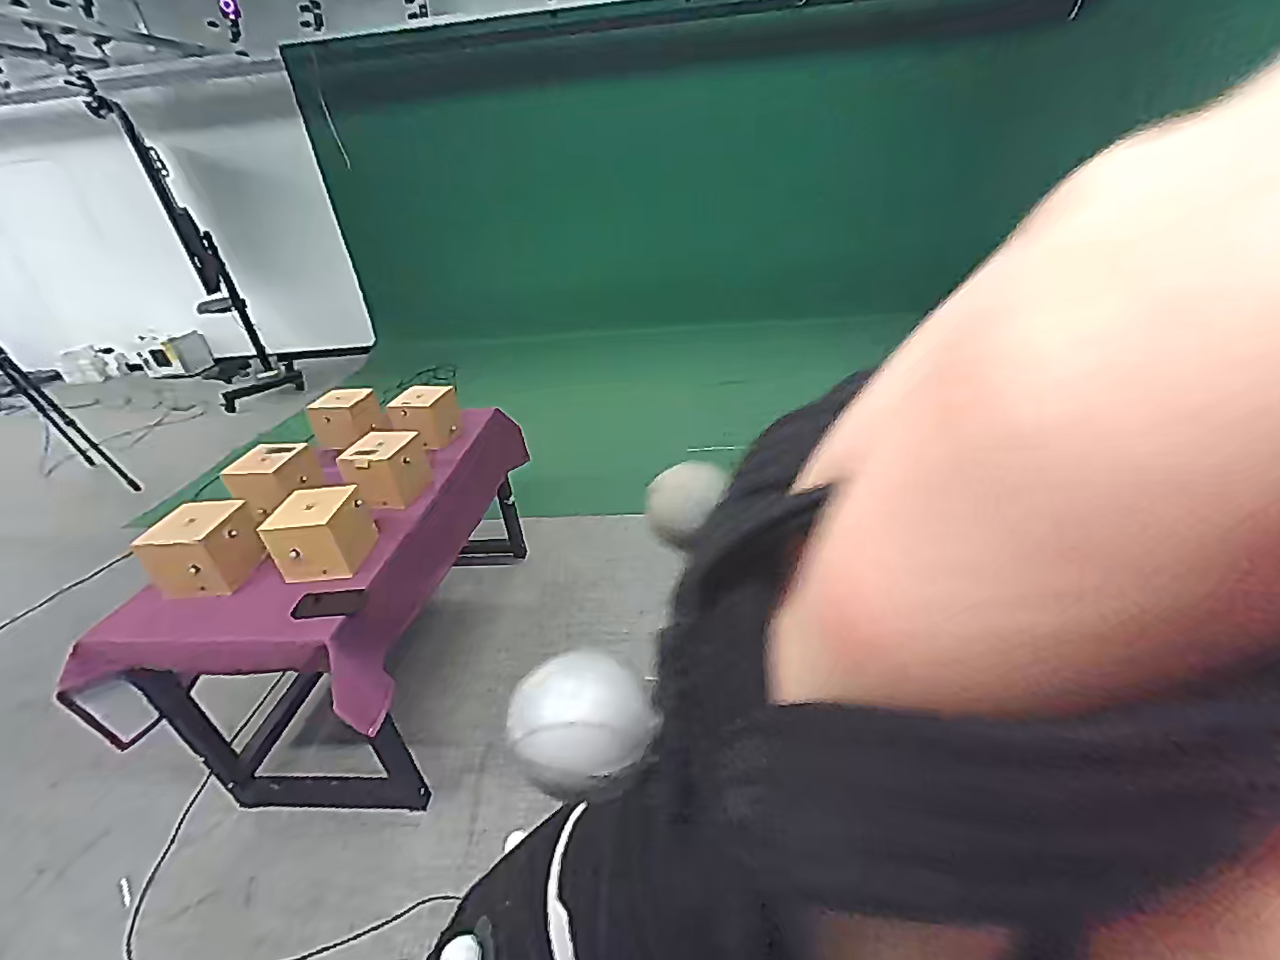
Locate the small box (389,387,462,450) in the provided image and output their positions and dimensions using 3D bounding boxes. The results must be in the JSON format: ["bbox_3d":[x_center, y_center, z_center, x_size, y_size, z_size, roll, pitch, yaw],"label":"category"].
[{"bbox_3d":[-0.756,-0.222,1.931,0.168,0.176,0.179,1,32,12],"label":"small box"}]

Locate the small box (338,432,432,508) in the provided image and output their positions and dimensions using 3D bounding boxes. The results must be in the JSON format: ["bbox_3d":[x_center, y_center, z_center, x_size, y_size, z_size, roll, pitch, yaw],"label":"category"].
[{"bbox_3d":[-0.749,-0.030,1.614,0.168,0.176,0.179,1,31,11],"label":"small box"}]

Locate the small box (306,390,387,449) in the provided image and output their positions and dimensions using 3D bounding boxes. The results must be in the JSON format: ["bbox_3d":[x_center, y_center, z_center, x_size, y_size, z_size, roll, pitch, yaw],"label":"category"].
[{"bbox_3d":[-1.066,-0.220,1.979,0.179,0.176,0.168,0,32,9],"label":"small box"}]

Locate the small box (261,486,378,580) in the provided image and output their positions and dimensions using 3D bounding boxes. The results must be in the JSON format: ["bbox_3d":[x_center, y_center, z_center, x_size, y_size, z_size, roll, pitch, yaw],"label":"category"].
[{"bbox_3d":[-0.786,0.136,1.351,0.168,0.176,0.179,-6,30,1],"label":"small box"}]
